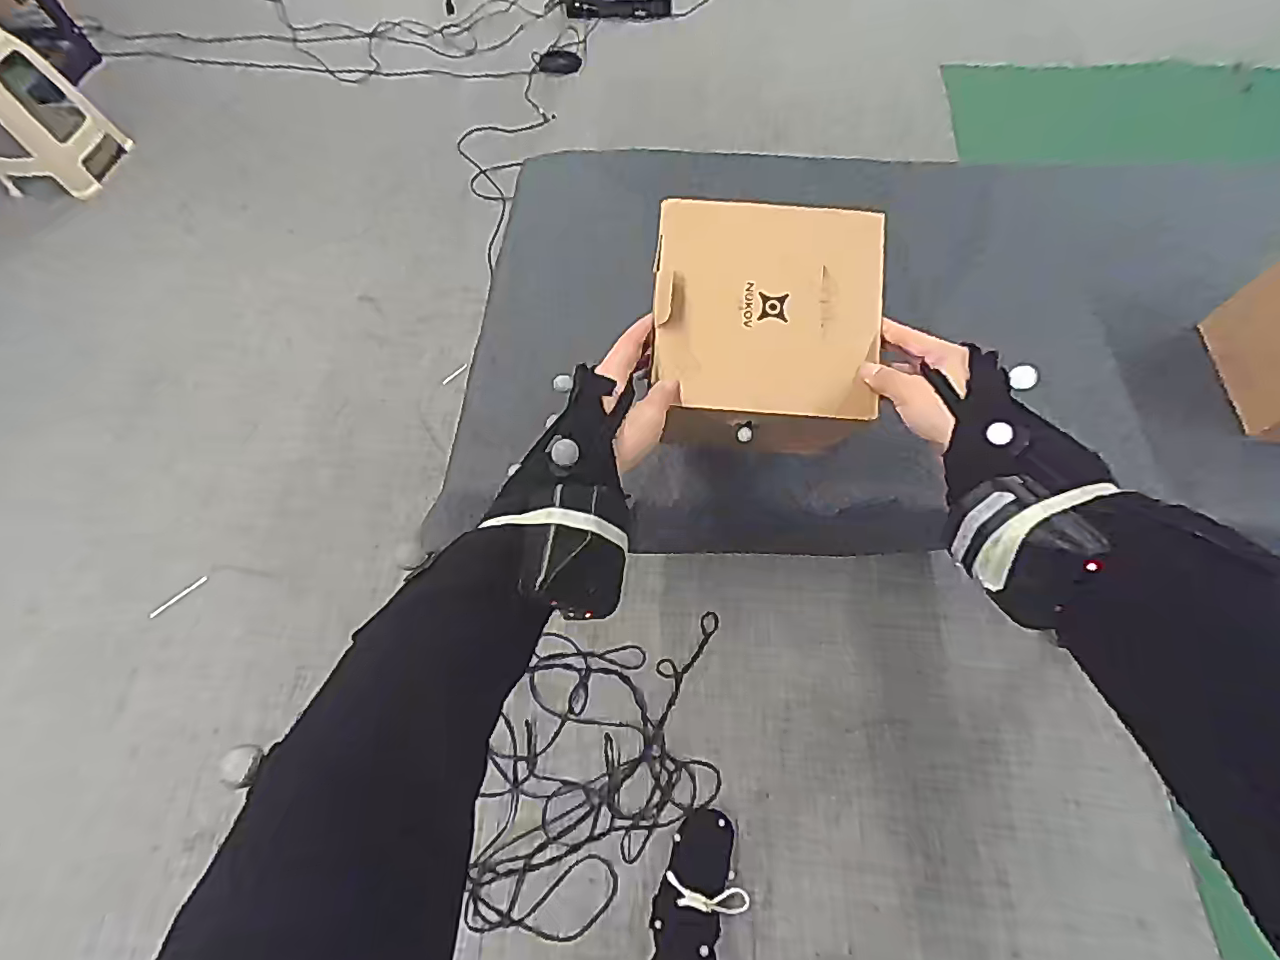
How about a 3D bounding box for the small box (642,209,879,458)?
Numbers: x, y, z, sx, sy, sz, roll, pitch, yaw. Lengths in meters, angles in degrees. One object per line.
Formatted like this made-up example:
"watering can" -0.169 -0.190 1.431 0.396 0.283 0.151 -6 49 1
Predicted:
"small box" 0.094 -0.116 0.493 0.179 0.176 0.168 4 83 -1
